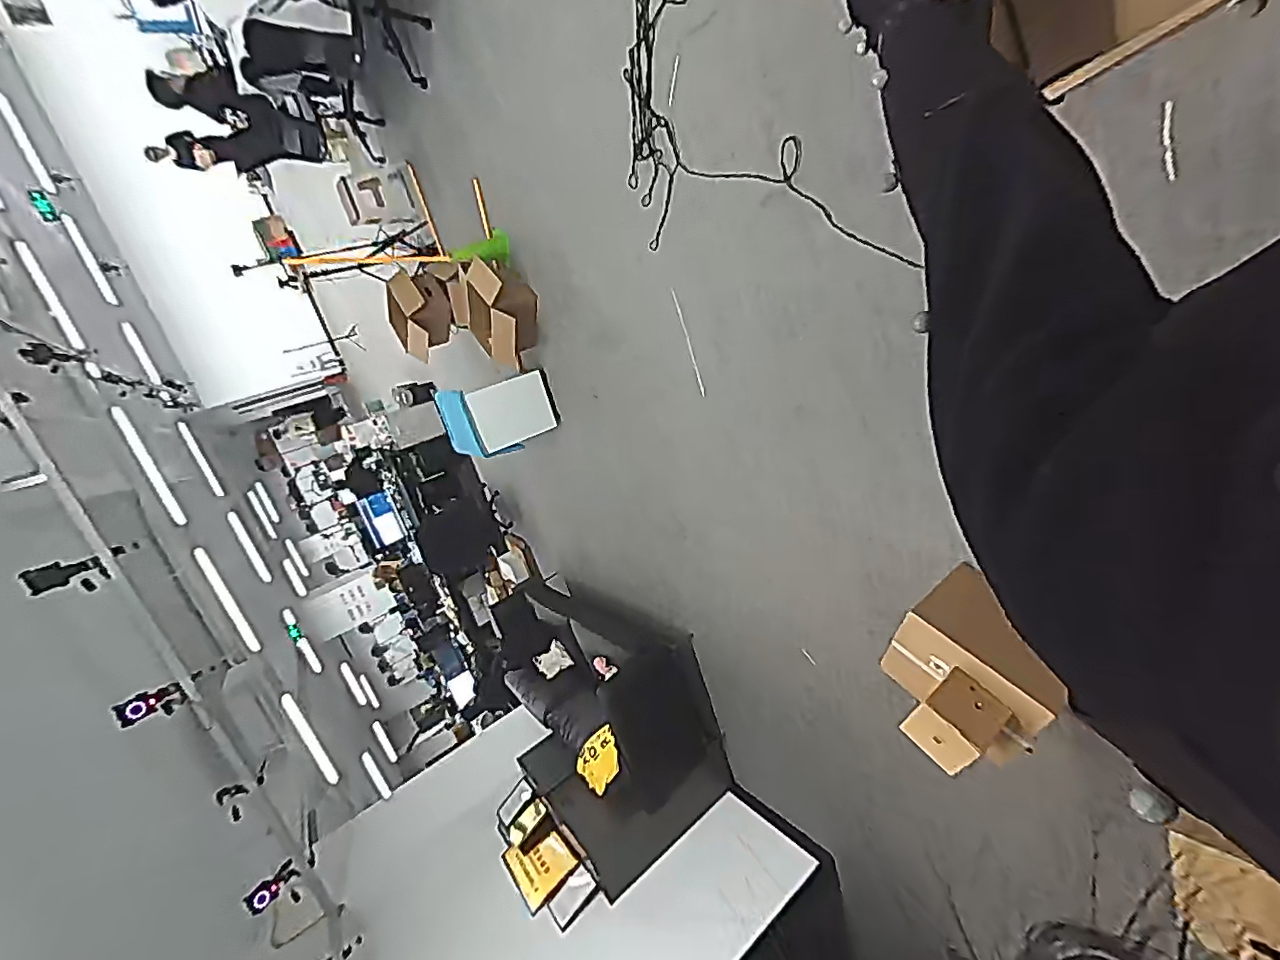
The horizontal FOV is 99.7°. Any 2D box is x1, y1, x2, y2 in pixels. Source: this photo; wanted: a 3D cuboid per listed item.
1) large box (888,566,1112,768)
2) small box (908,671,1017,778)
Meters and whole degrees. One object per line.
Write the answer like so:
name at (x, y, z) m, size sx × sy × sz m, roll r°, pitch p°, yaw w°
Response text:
large box at (1.043, 0.536, 1.604) m, size 0.408 × 0.320 × 0.320 m, roll 41°, pitch 145°, yaw 38°
small box at (0.876, 0.661, 1.470) m, size 0.168 × 0.176 × 0.179 m, roll 43°, pitch 147°, yaw 34°
